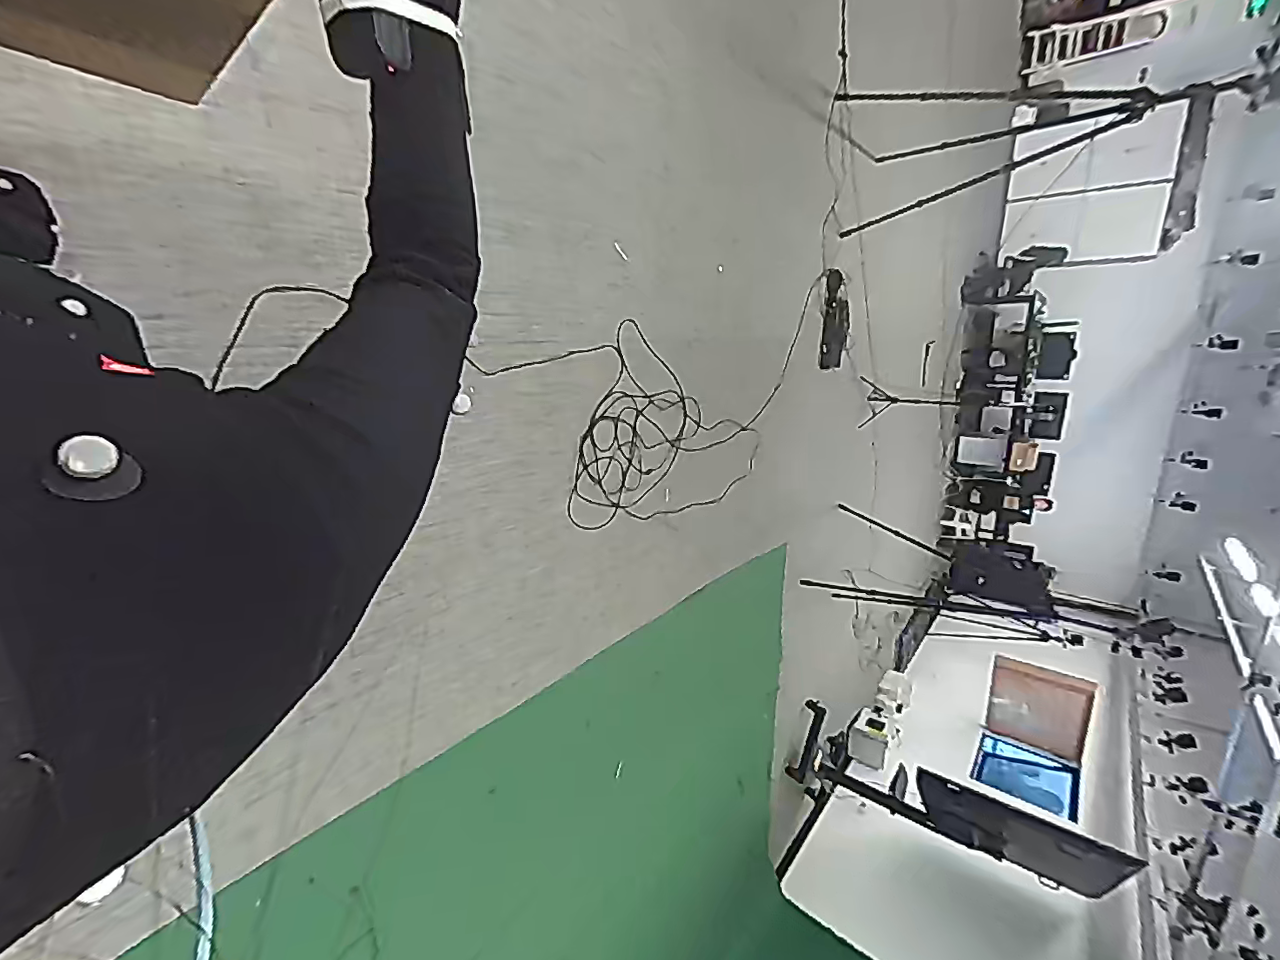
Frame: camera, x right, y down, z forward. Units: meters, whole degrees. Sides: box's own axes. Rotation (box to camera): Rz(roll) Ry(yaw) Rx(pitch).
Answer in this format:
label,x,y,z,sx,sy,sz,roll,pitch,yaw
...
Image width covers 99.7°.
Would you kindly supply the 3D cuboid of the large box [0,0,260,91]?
label,x,y,z,sx,sy,sz,roll,pitch,yaw
large box,-0.435,-0.460,0.240,0.408,0.320,0.320,-11,108,-47
